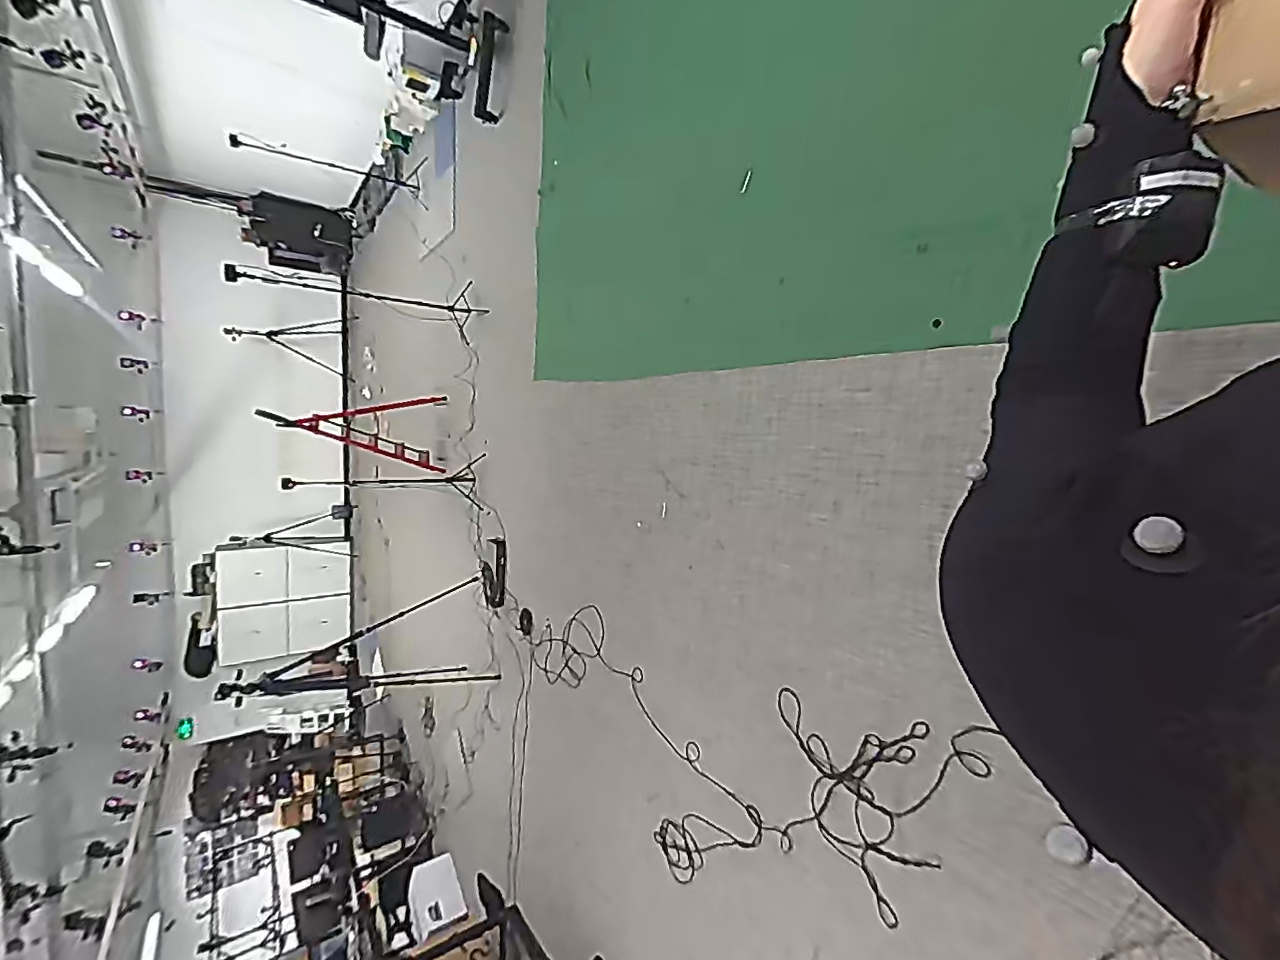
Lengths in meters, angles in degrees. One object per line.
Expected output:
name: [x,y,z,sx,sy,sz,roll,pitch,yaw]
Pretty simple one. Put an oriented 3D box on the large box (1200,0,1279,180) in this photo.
large box: [0.626,-0.386,0.269,0.408,0.320,0.320,17,112,55]
